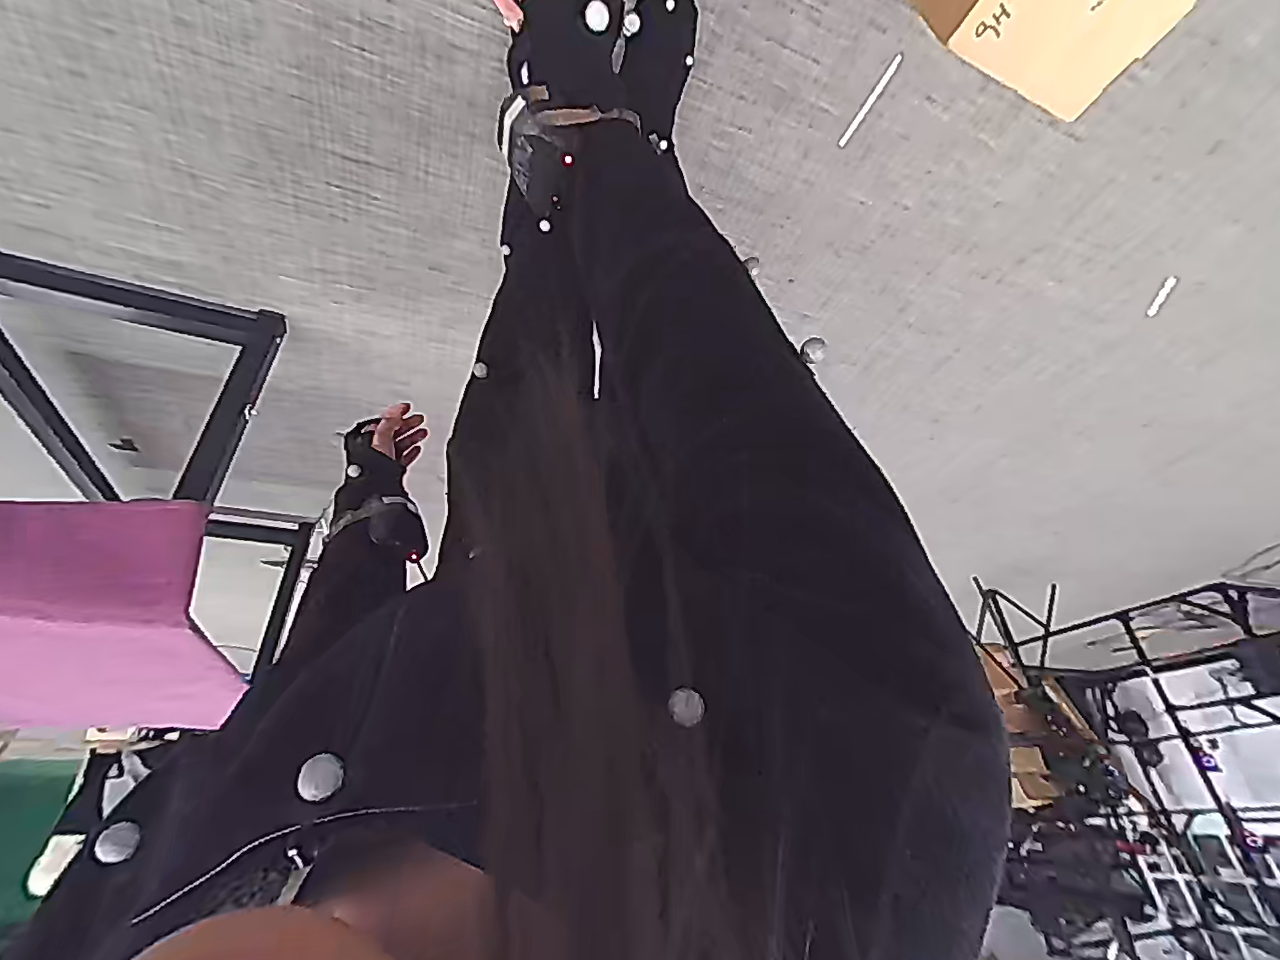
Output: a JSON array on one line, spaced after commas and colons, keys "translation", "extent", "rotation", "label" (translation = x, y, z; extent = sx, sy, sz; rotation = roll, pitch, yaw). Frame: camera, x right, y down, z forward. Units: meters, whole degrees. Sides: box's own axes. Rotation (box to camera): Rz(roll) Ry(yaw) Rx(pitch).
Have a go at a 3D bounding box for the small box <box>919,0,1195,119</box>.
[{"translation": [0.367, -0.469, 0.468], "extent": [0.179, 0.176, 0.168], "rotation": [9, 148, -23], "label": "small box"}]
